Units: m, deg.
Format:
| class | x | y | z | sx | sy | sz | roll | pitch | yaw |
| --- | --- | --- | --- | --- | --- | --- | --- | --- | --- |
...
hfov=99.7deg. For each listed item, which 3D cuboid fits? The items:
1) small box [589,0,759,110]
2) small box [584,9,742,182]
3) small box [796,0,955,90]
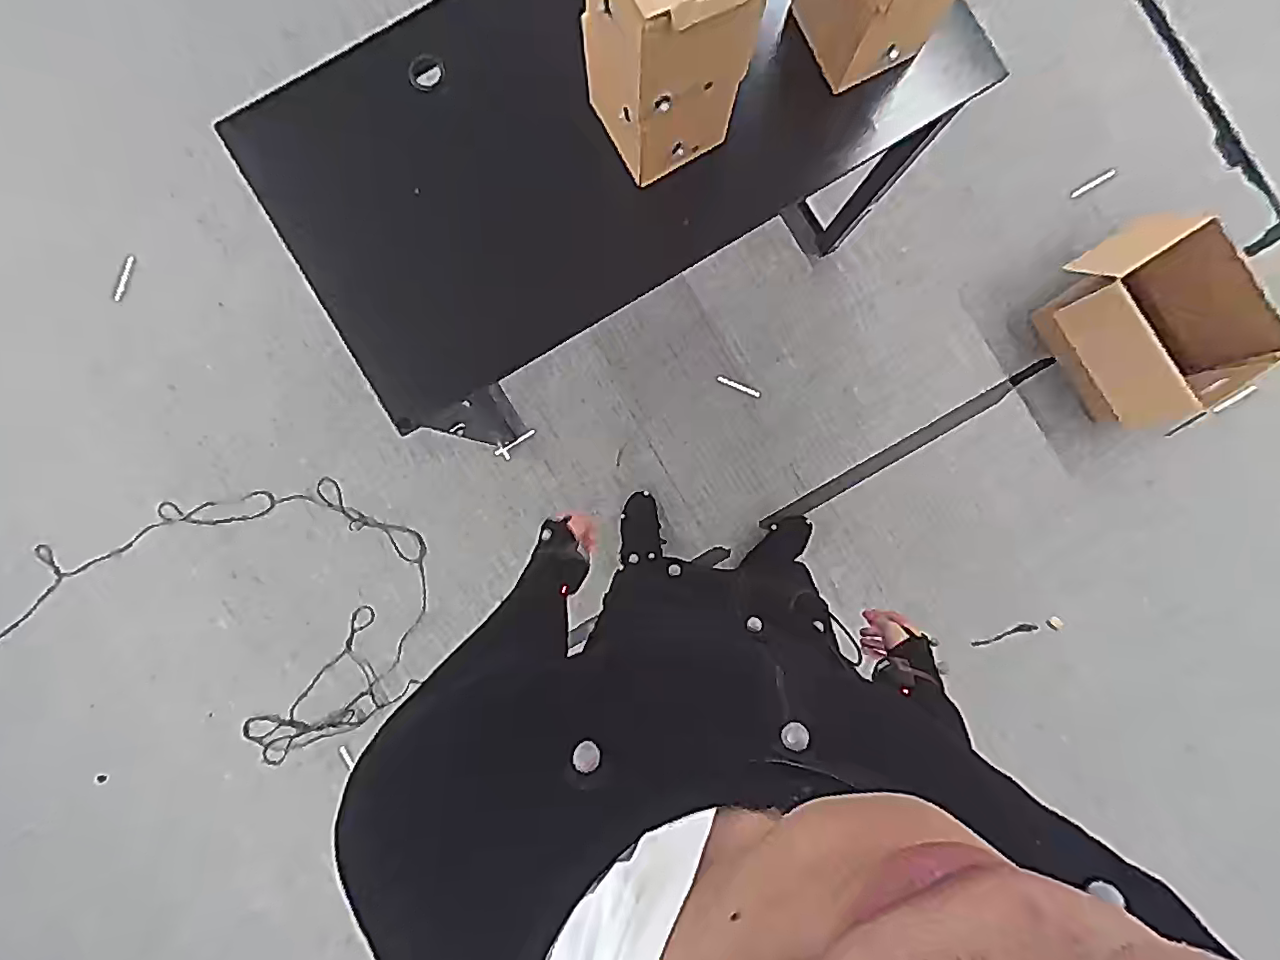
| class | x | y | z | sx | sy | sz | roll | pitch | yaw |
| --- | --- | --- | --- | --- | --- | --- | --- | --- | --- |
| small box | 0.039 | -0.601 | 0.664 | 0.168 | 0.176 | 0.179 | -25 | 90 | -2 |
| small box | 0.029 | -0.607 | 0.828 | 0.168 | 0.176 | 0.179 | -30 | 91 | -1 |
| small box | 0.365 | -0.764 | 0.832 | 0.168 | 0.176 | 0.179 | -26 | 90 | 0 |
